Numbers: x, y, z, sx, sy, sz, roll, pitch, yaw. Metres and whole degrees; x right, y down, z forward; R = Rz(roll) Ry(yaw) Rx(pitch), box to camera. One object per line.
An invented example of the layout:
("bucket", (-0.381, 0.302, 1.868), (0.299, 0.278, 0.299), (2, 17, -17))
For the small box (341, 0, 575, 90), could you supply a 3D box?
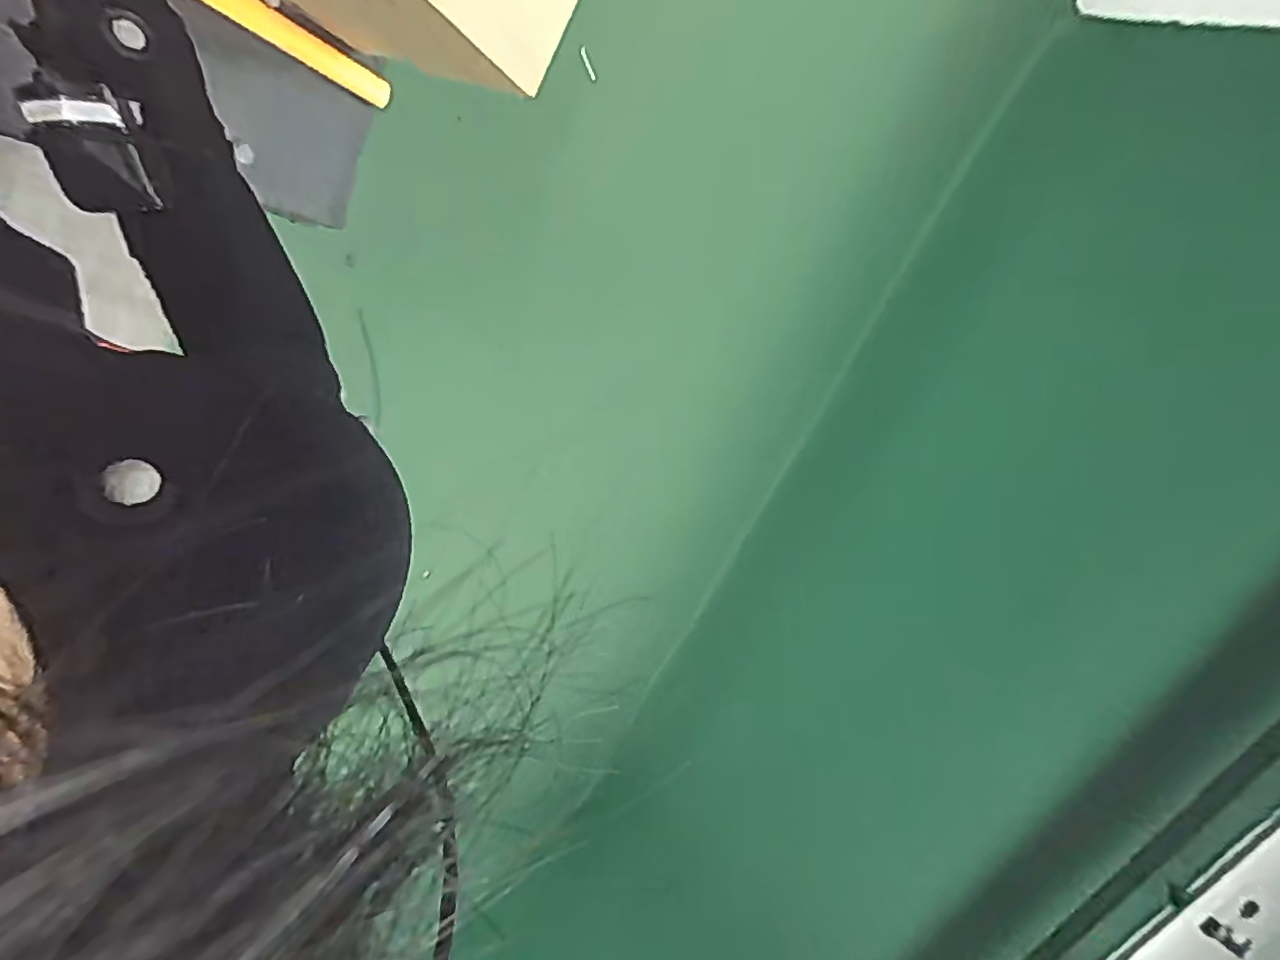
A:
("small box", (-0.135, -0.376, 0.317), (0.179, 0.176, 0.168), (13, 112, -54))
